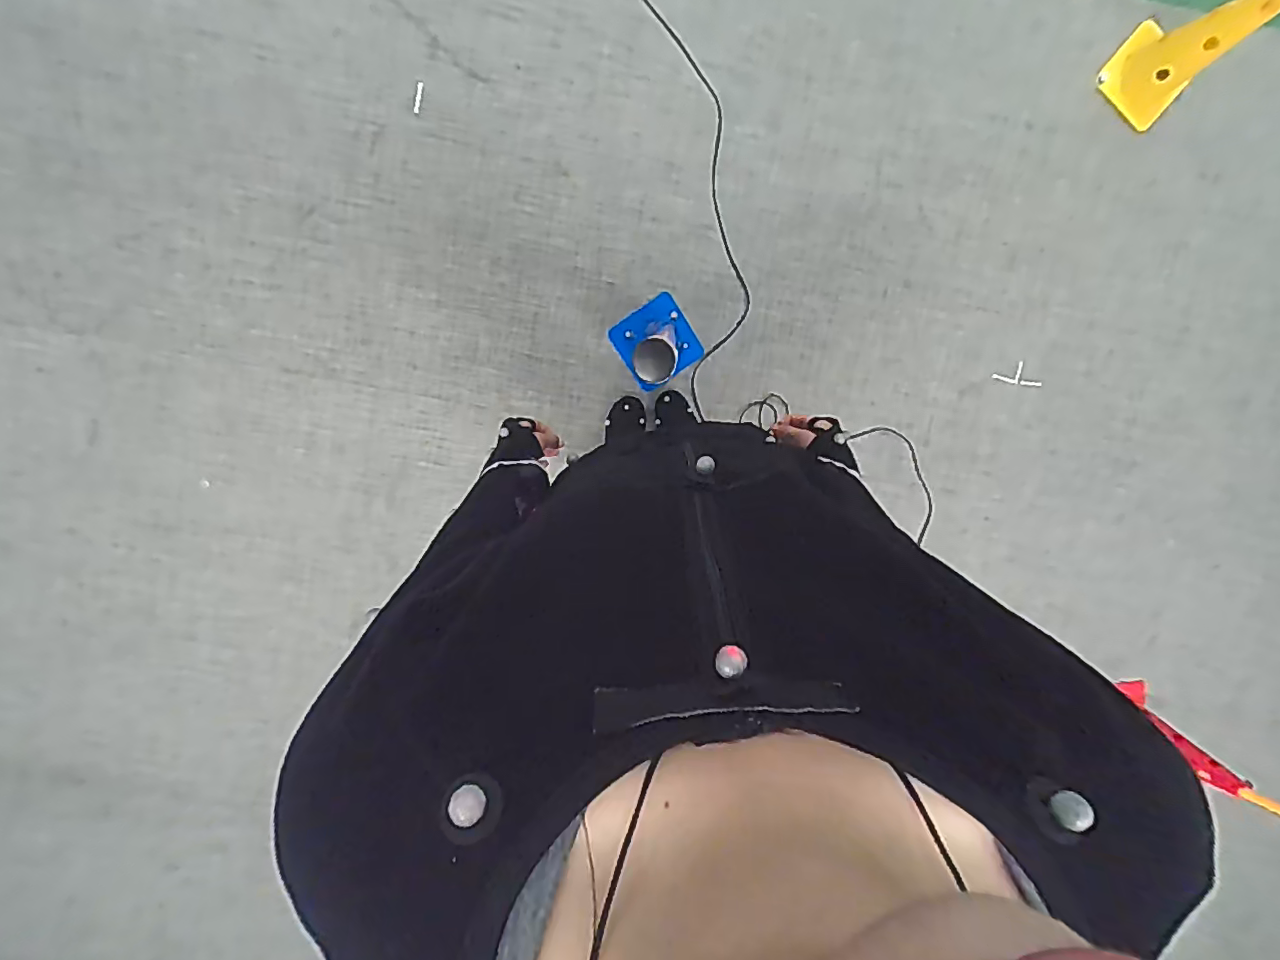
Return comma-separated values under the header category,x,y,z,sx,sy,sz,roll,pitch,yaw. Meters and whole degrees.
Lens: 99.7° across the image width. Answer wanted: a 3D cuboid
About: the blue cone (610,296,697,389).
category,x,y,z,sx,sy,sz,roll,pitch,yaw
blue cone,0.044,-0.328,1.264,0.193,0.380,0.192,-35,100,4
